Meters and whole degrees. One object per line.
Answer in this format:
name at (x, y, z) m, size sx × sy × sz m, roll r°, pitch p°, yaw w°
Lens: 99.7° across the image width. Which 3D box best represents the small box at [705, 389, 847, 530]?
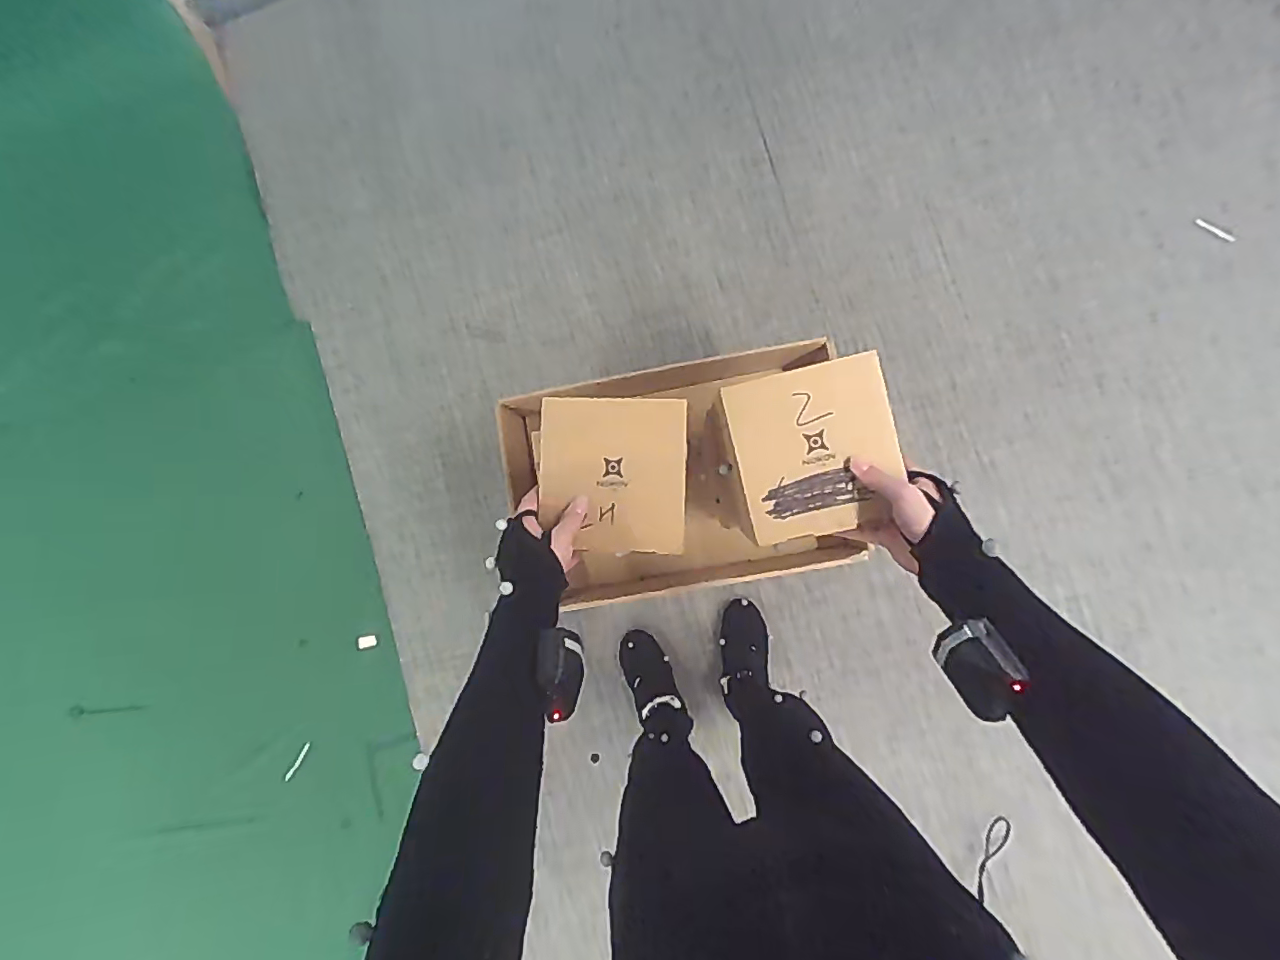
small box at (0.193, -0.025, 0.817) m, size 0.168 × 0.176 × 0.179 m, roll -9°, pitch 86°, yaw 3°
